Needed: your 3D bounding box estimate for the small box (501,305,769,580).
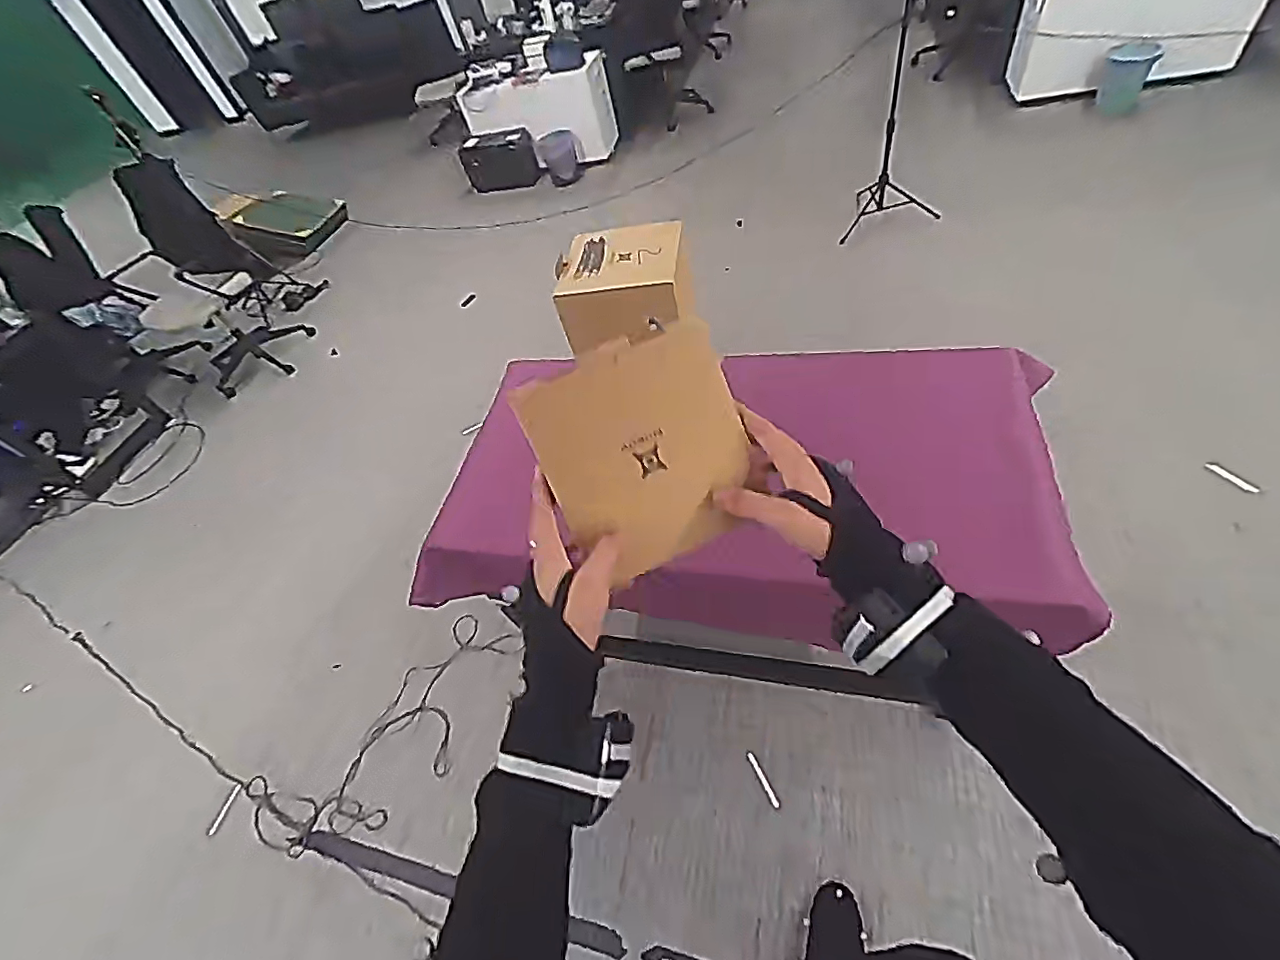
[{"bbox_3d":[-0.008,-0.037,0.506,0.168,0.179,0.176,-25,9,-4],"label":"small box"}]
